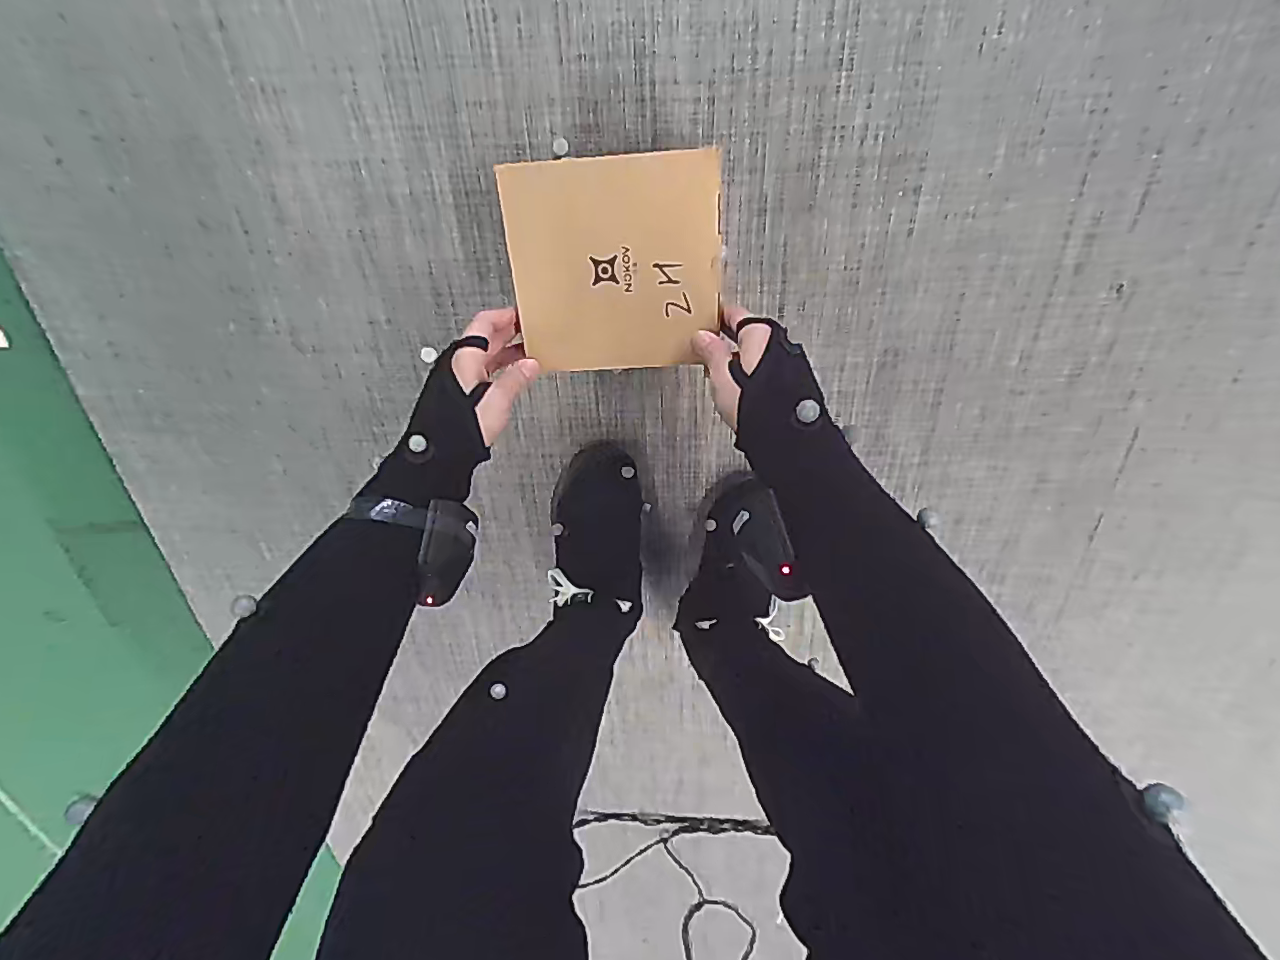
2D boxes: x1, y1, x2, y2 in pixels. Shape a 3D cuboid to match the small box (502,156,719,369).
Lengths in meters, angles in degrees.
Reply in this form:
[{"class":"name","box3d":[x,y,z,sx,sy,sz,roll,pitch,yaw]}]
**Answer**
[{"class":"small box","box3d":[-0.017,-0.212,0.531,0.179,0.176,0.168,-2,117,3]}]
